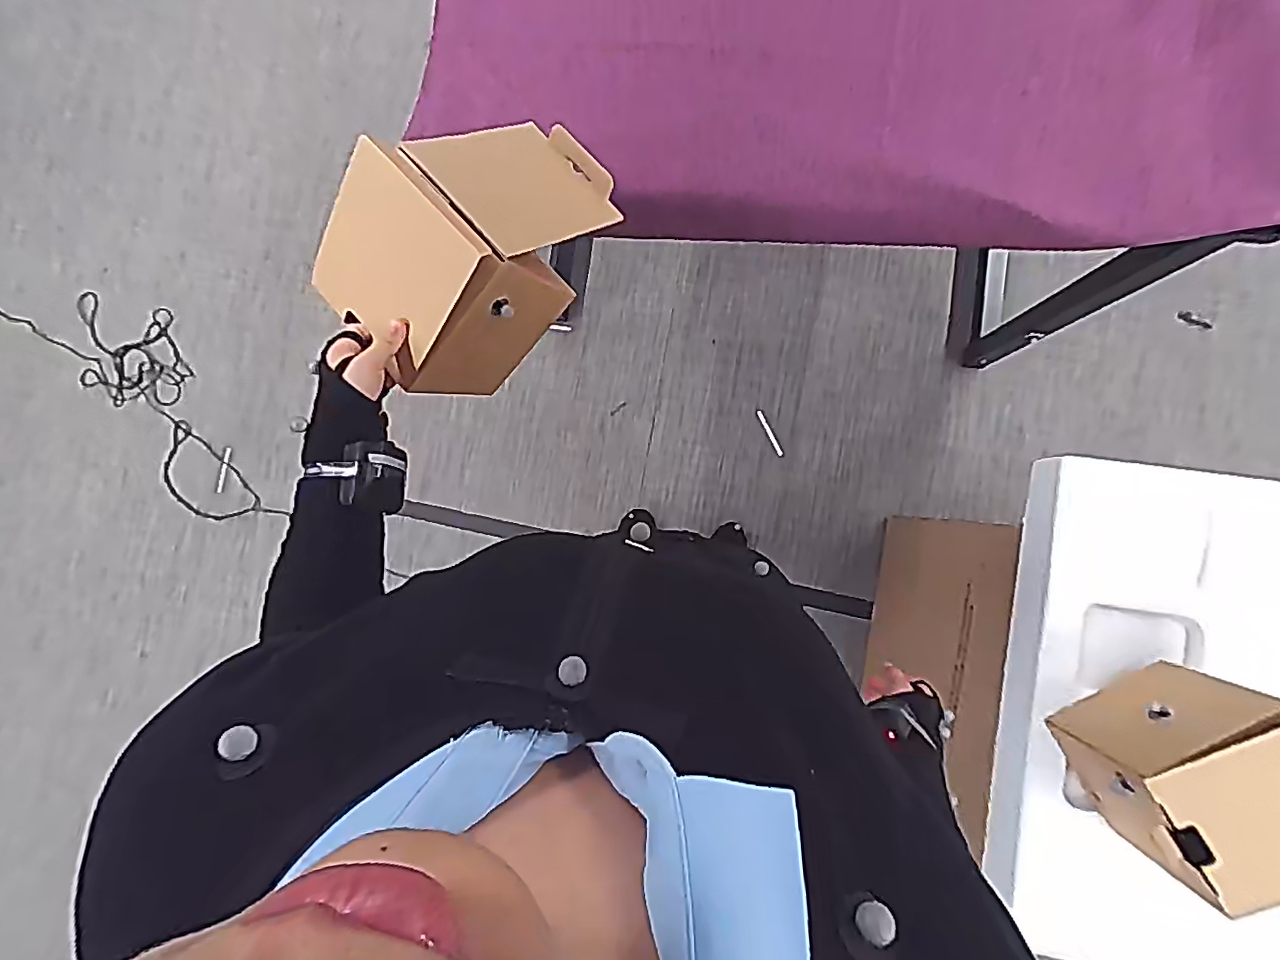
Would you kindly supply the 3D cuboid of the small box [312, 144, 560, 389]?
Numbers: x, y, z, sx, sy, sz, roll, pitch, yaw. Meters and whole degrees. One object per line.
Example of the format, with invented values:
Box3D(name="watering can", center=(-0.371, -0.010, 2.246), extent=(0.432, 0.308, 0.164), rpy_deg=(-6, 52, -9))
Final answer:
Box3D(name="small box", center=(-0.214, -0.222, 0.618), extent=(0.179, 0.176, 0.168), rpy_deg=(-44, 83, 17))
